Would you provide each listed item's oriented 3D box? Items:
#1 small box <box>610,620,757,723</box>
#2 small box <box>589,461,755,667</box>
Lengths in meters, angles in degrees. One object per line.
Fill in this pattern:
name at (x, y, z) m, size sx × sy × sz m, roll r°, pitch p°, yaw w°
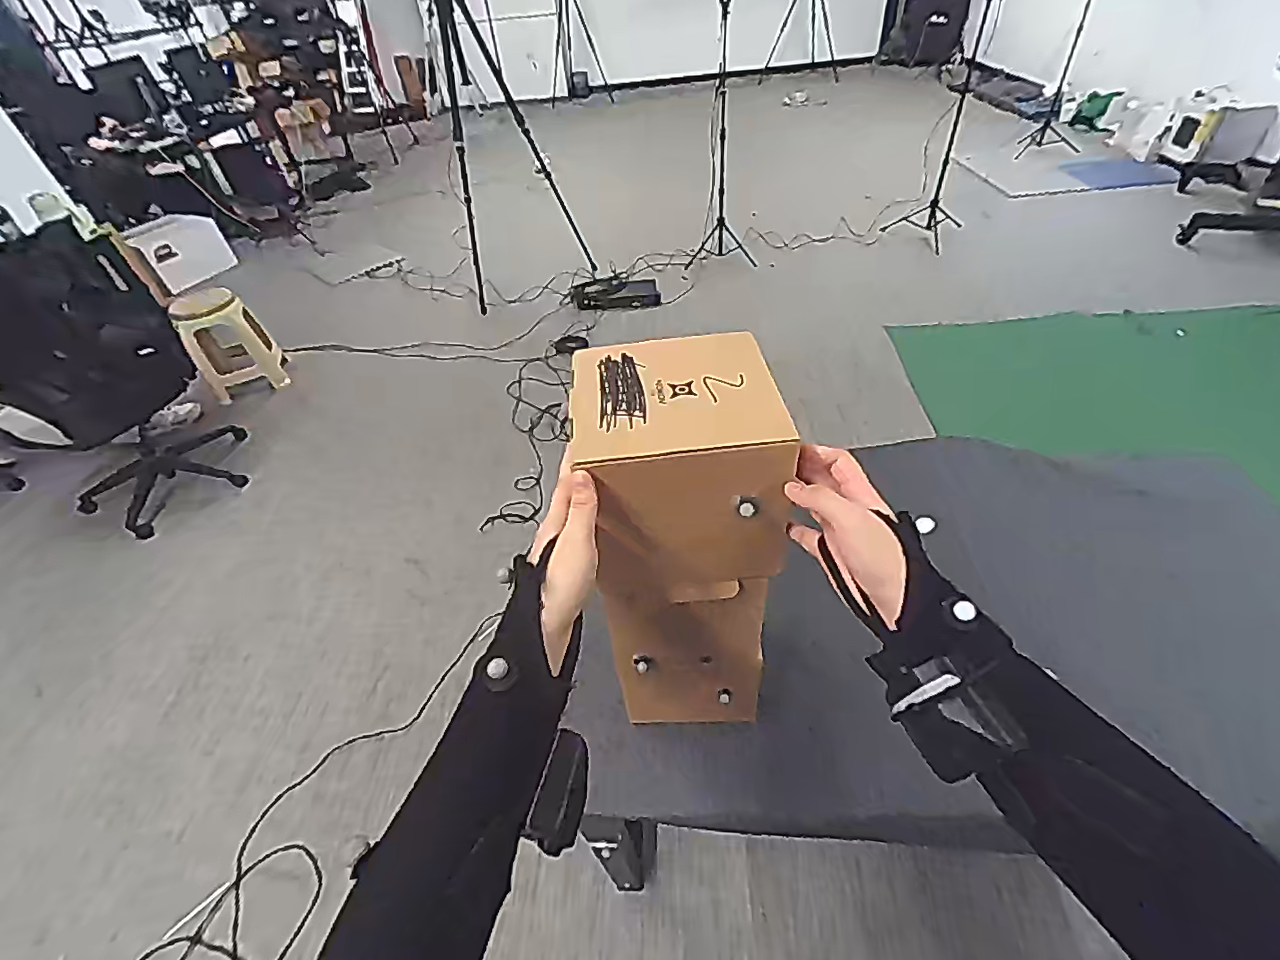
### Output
small box at (0.059, 0.220, 0.747) m, size 0.179 × 0.176 × 0.168 m, roll -4°, pitch 42°, yaw 4°
small box at (0.035, 0.103, 0.634) m, size 0.168 × 0.176 × 0.179 m, roll -6°, pitch 42°, yaw 1°
